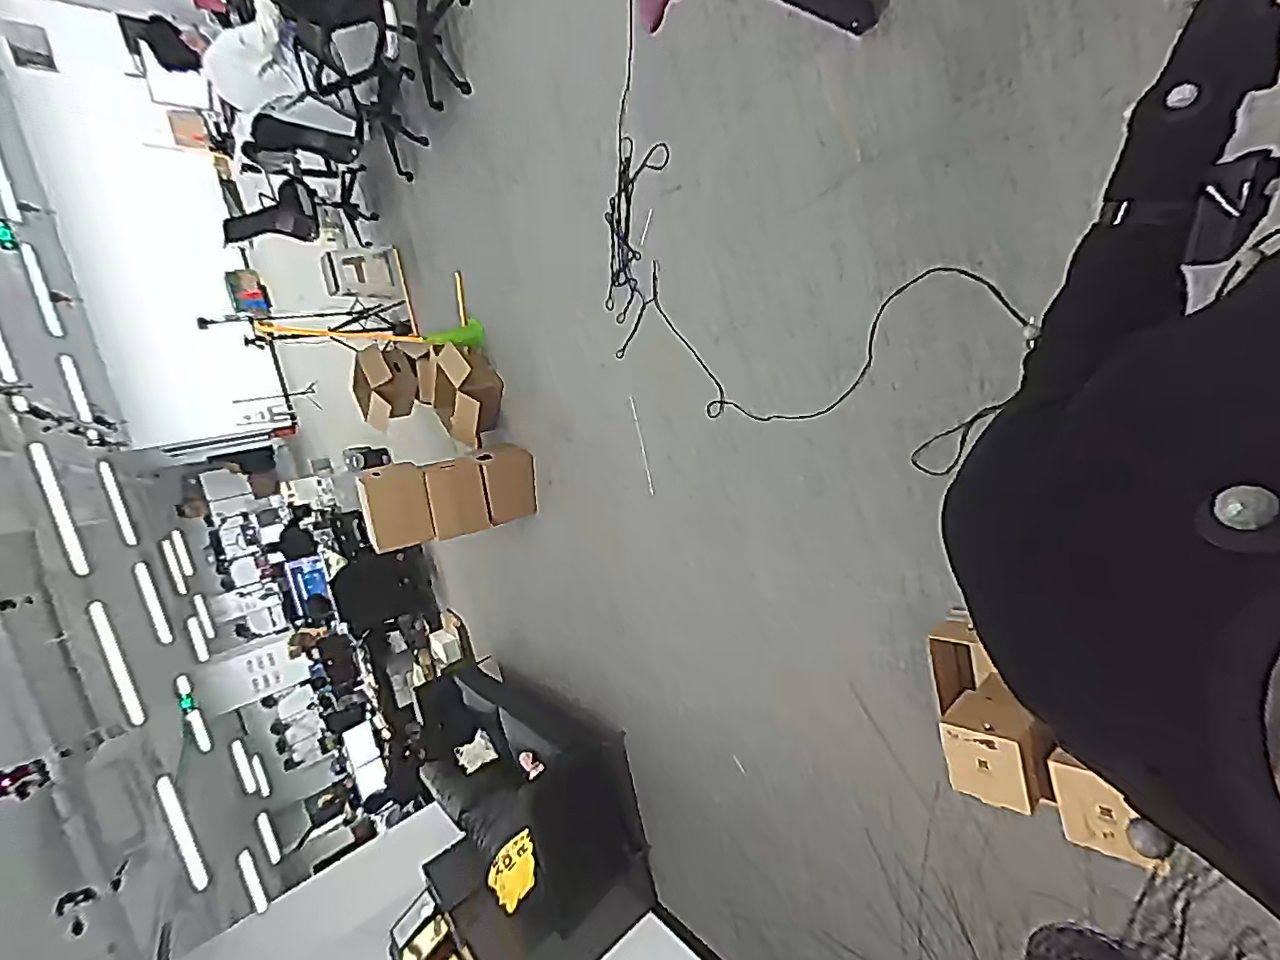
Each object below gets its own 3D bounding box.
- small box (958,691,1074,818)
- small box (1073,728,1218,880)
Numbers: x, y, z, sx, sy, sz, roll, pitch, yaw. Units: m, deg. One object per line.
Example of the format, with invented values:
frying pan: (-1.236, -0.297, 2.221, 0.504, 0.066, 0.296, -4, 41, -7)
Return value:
small box: (0.875, 0.624, 1.254, 0.168, 0.176, 0.179, -8, 97, 53)
small box: (1.007, 0.628, 1.079, 0.168, 0.176, 0.179, -12, 93, 57)
